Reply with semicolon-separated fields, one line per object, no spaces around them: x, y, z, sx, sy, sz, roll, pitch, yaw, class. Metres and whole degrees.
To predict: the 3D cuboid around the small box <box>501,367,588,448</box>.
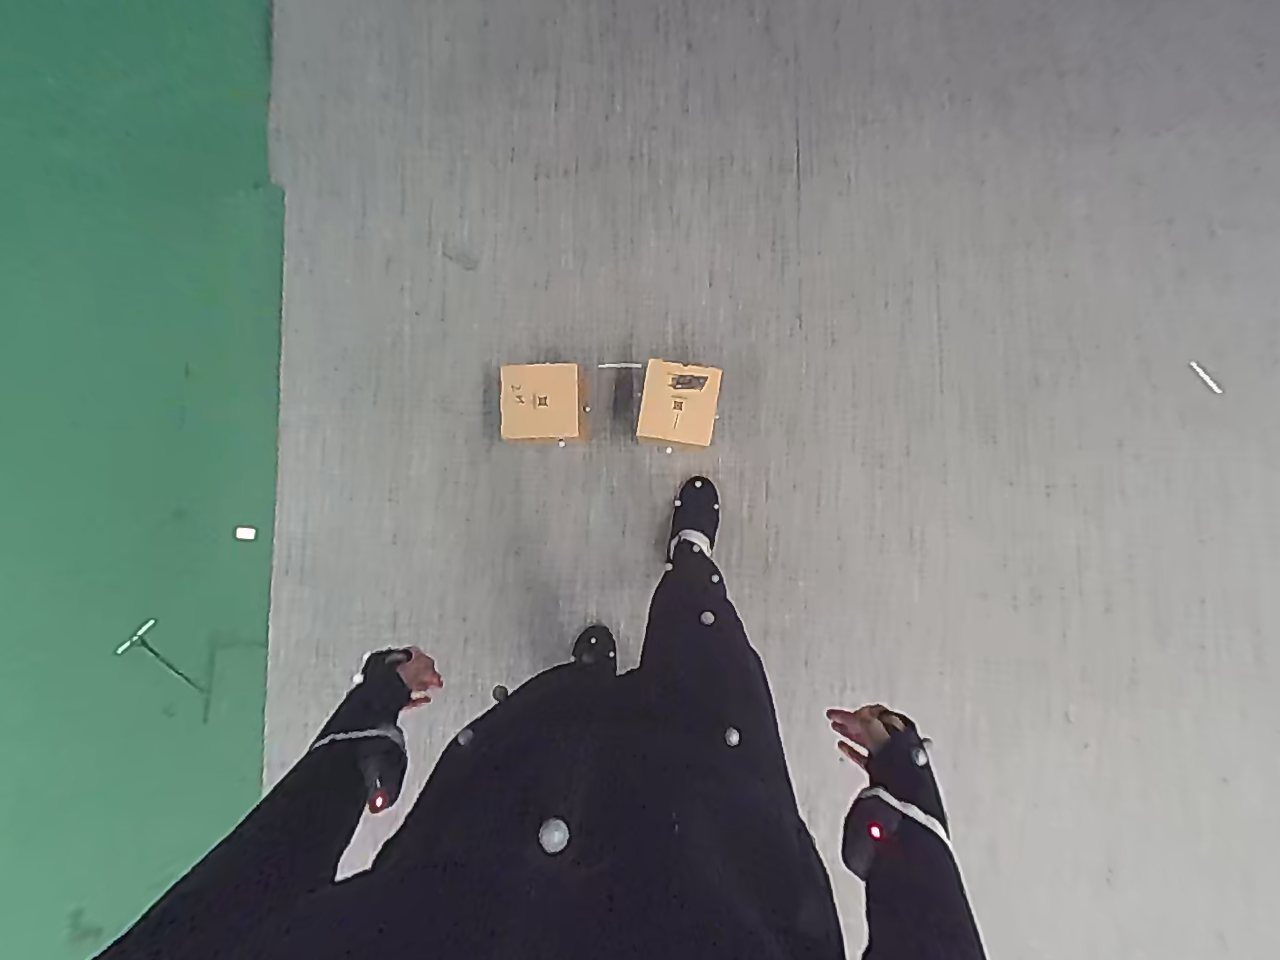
-0.218;-0.167;1.278;0.179;0.176;0.168;-1;87;3;small box

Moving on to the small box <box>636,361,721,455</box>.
0.087;-0.162;1.268;0.168;0.176;0.179;9;88;3;small box
